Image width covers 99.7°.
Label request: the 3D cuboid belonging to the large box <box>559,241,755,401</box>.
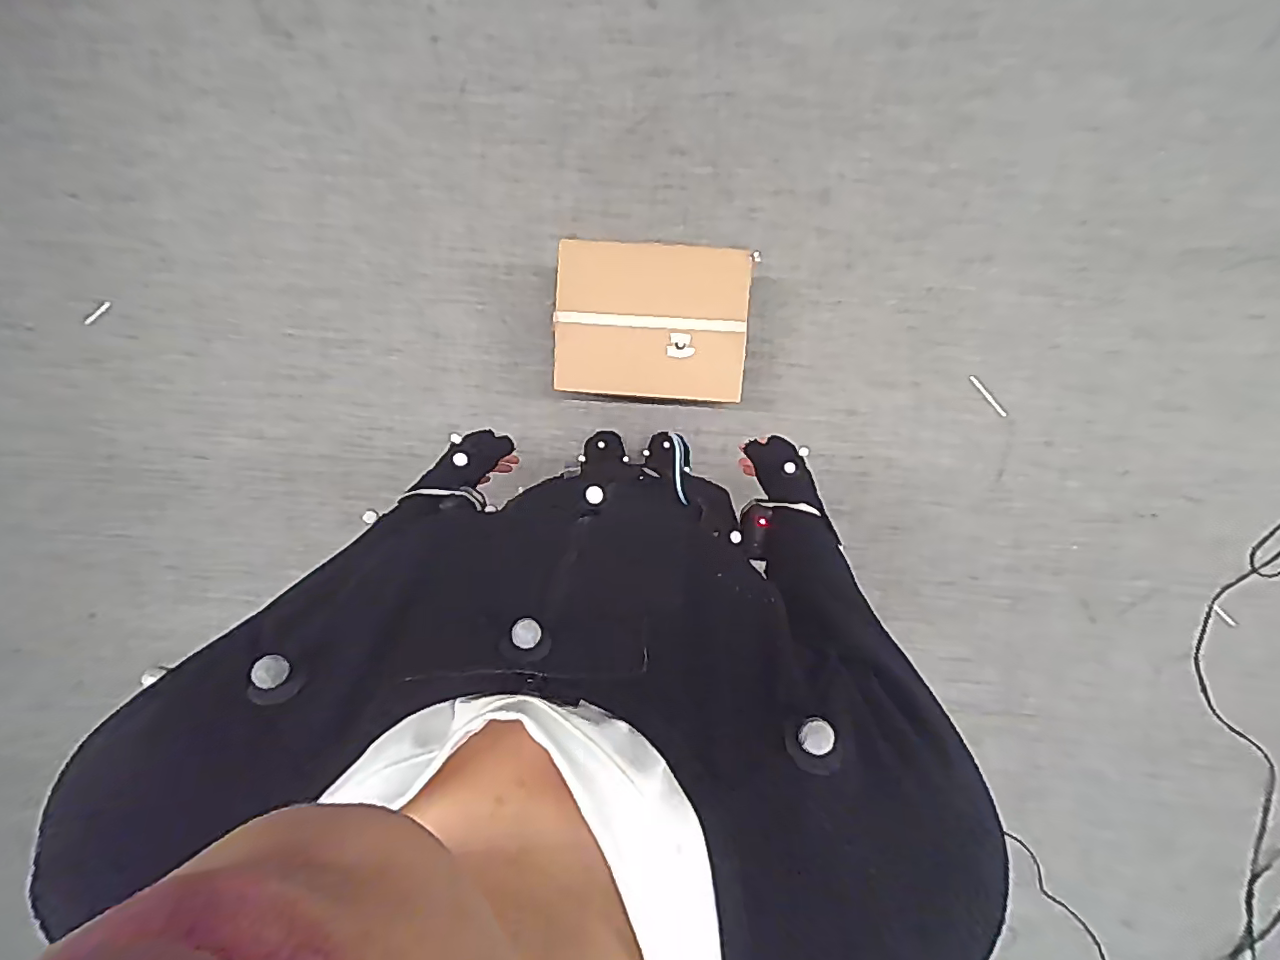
[{"bbox_3d":[0.036,-0.353,1.282,0.408,0.320,0.320,4,99,2],"label":"large box"}]
